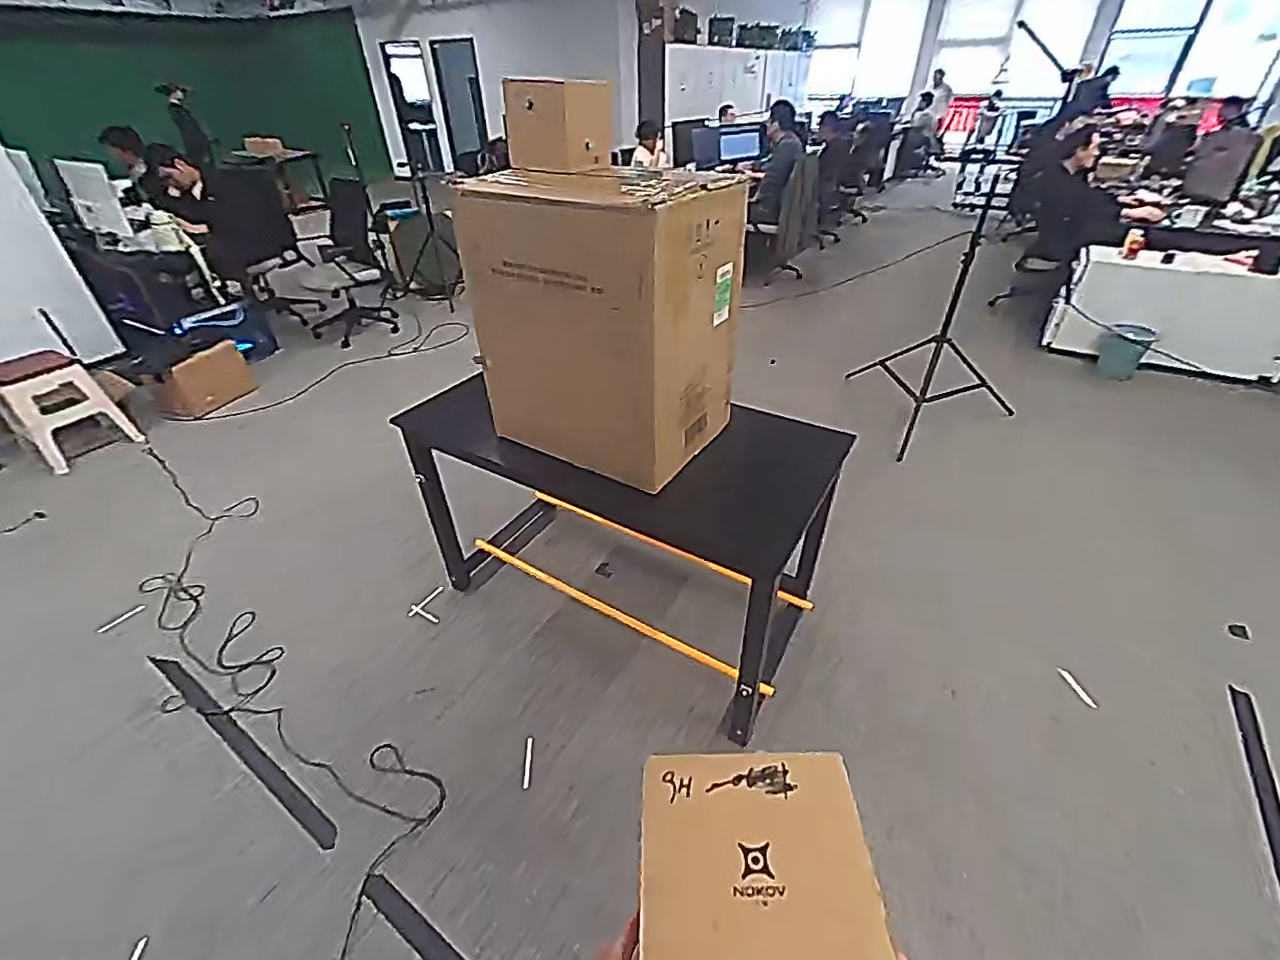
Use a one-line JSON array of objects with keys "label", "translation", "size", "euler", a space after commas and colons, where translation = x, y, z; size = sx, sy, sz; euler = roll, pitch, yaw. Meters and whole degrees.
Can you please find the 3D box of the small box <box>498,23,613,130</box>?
[{"label": "small box", "translation": [-0.173, -0.844, 1.142], "size": [0.179, 0.176, 0.168], "euler": [22, 41, 25]}]
